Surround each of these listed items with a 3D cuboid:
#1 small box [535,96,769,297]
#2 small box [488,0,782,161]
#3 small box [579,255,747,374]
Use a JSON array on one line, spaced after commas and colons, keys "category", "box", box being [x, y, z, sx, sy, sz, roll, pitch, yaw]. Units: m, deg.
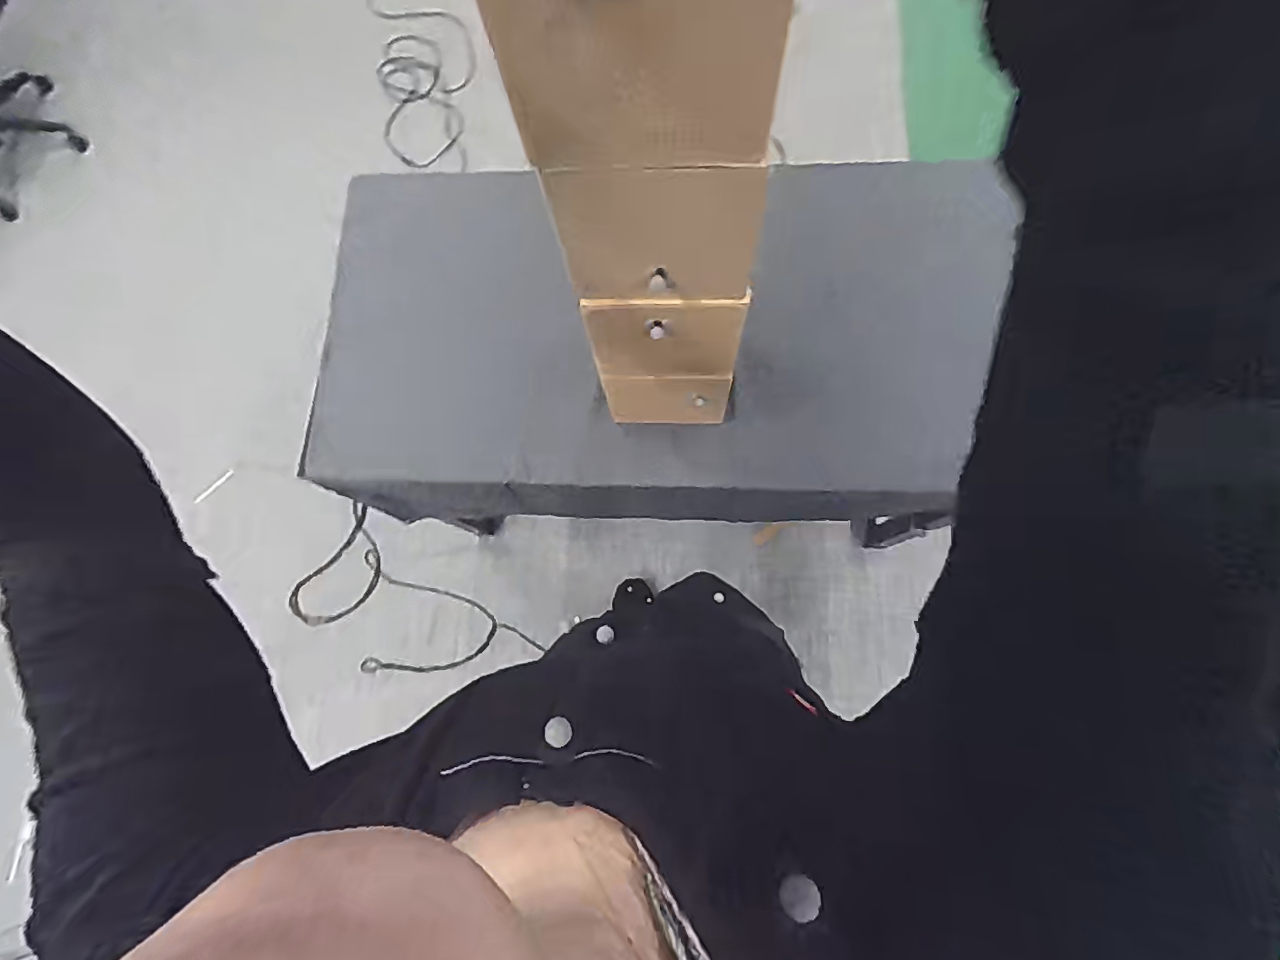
[{"category": "small box", "box": [0.016, -0.286, 0.498, 0.179, 0.176, 0.168, 2, 75, 4]}, {"category": "small box", "box": [-0.001, -0.332, 0.341, 0.179, 0.176, 0.168, 0, 76, 4]}, {"category": "small box", "box": [0.029, -0.238, 0.654, 0.179, 0.176, 0.168, 0, 75, 4]}]
